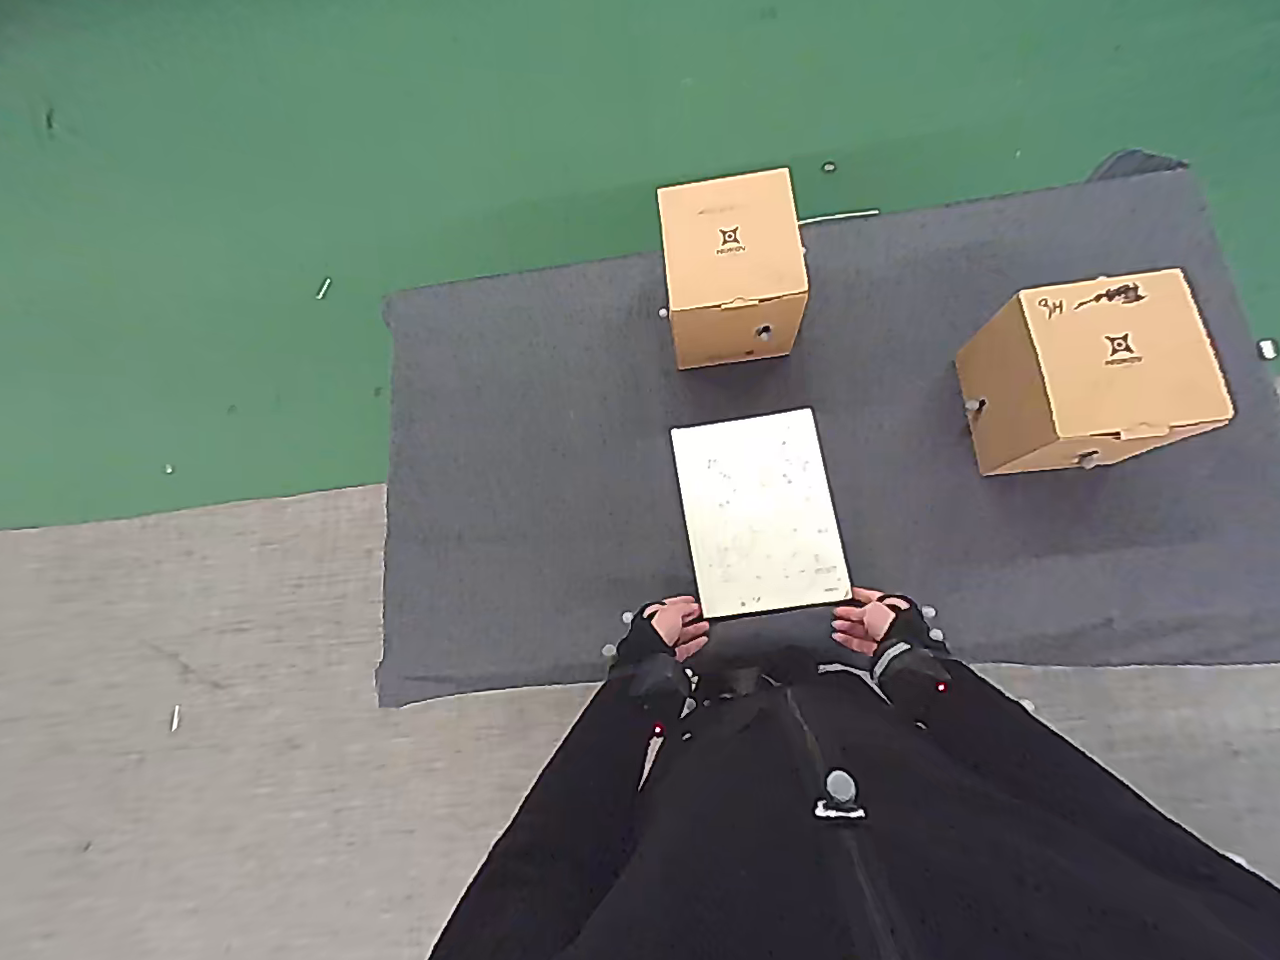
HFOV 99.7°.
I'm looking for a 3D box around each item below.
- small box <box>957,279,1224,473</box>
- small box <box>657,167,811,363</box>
[{"bbox_3d":[0.513,-0.109,0.648,0.168,0.176,0.179,-6,78,6],"label":"small box"},{"bbox_3d":[0.118,-0.270,0.720,0.168,0.176,0.179,-7,76,5],"label":"small box"}]
